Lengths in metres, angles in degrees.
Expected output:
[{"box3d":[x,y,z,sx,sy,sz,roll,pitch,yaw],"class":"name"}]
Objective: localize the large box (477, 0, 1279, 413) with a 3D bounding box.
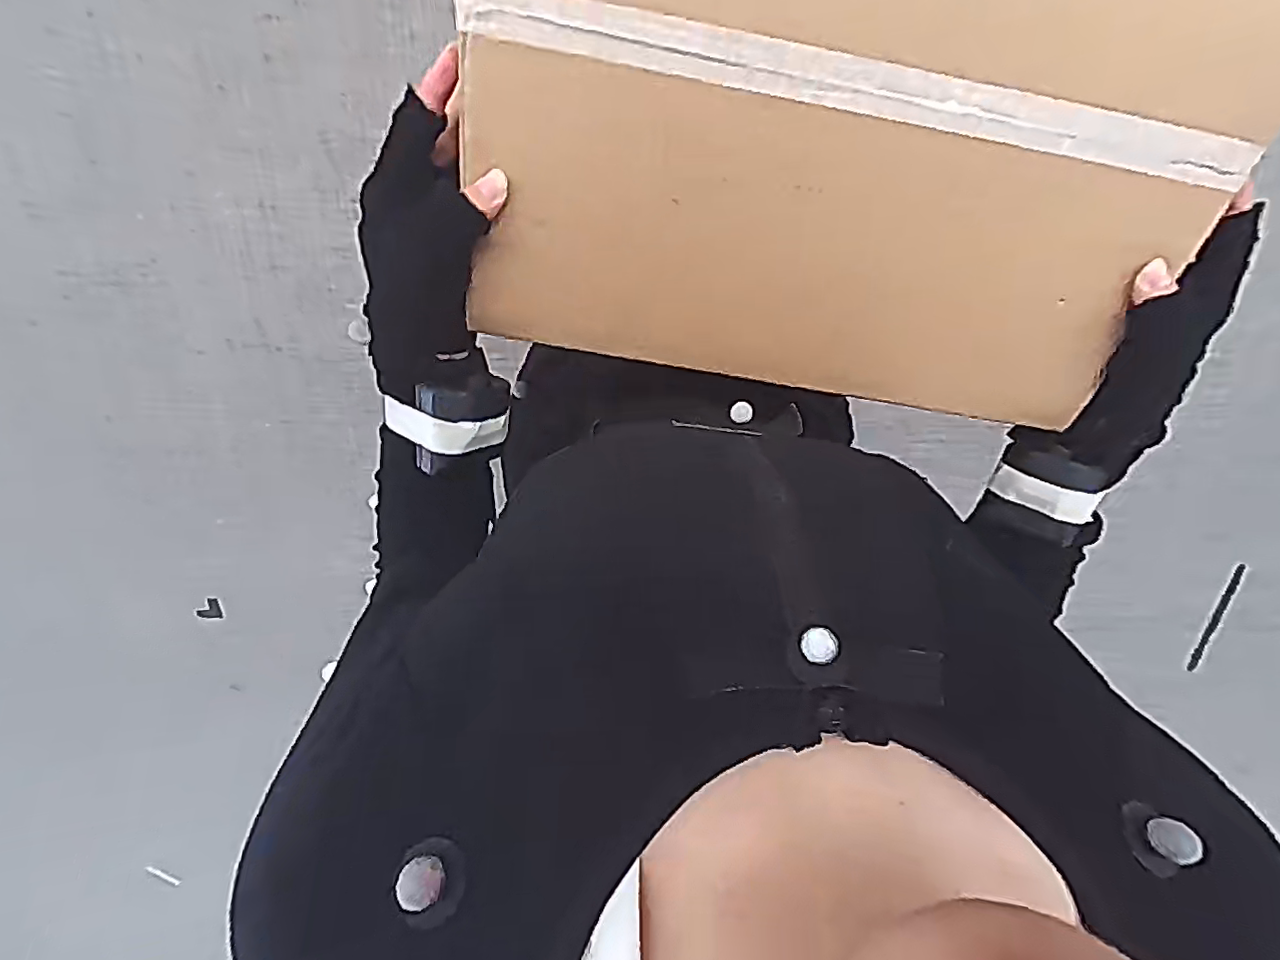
[{"box3d":[0.117,-0.280,0.397,0.408,0.320,0.320,9,126,-5],"class":"large box"}]
